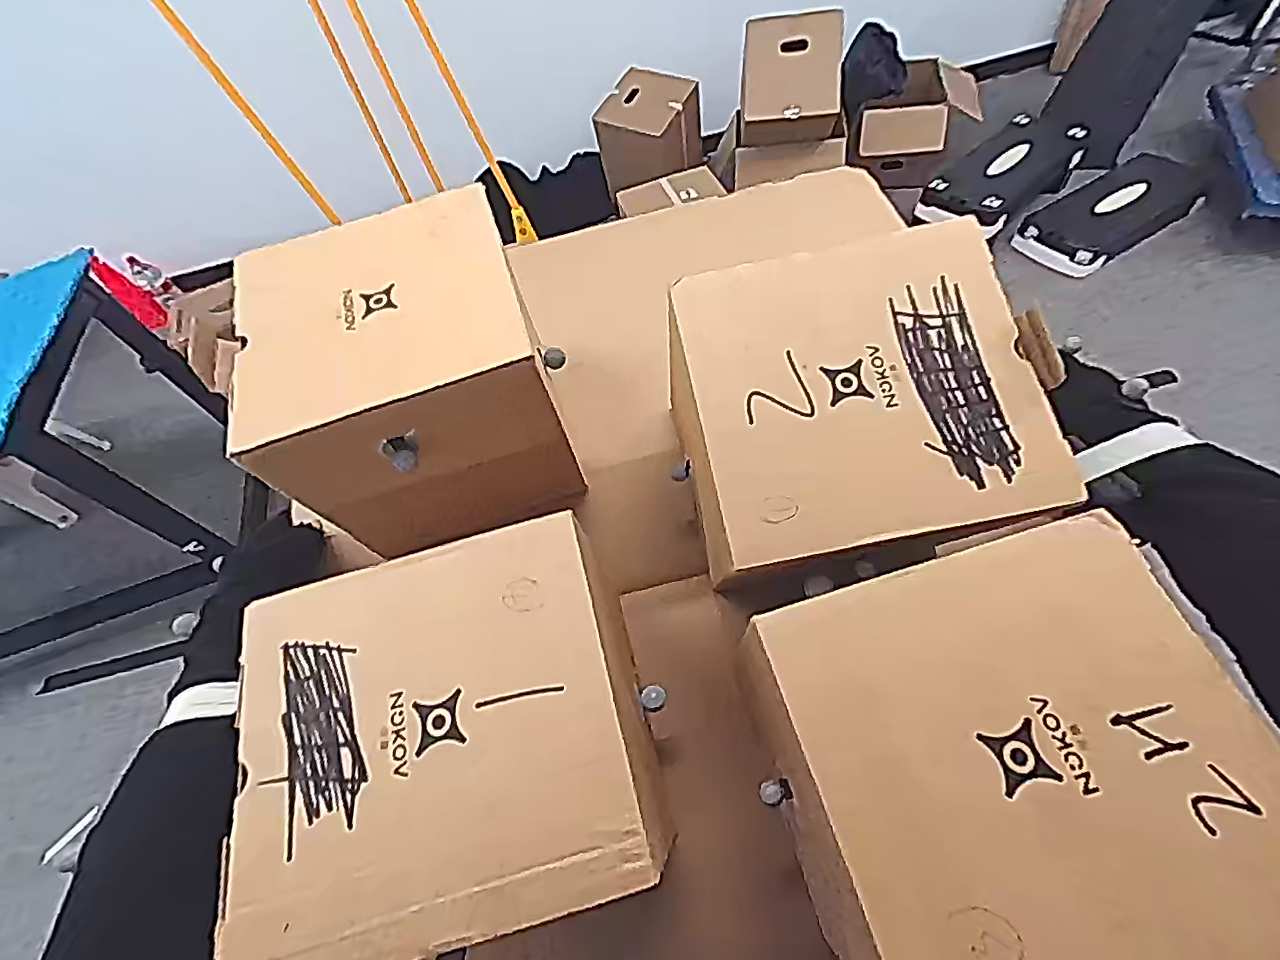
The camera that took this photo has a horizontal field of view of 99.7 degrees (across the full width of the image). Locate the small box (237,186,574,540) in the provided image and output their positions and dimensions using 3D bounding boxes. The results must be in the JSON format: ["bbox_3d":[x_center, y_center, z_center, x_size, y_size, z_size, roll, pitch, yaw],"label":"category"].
[{"bbox_3d":[-0.159,-0.076,0.412,0.179,0.176,0.168,-20,63,-2],"label":"small box"}]
